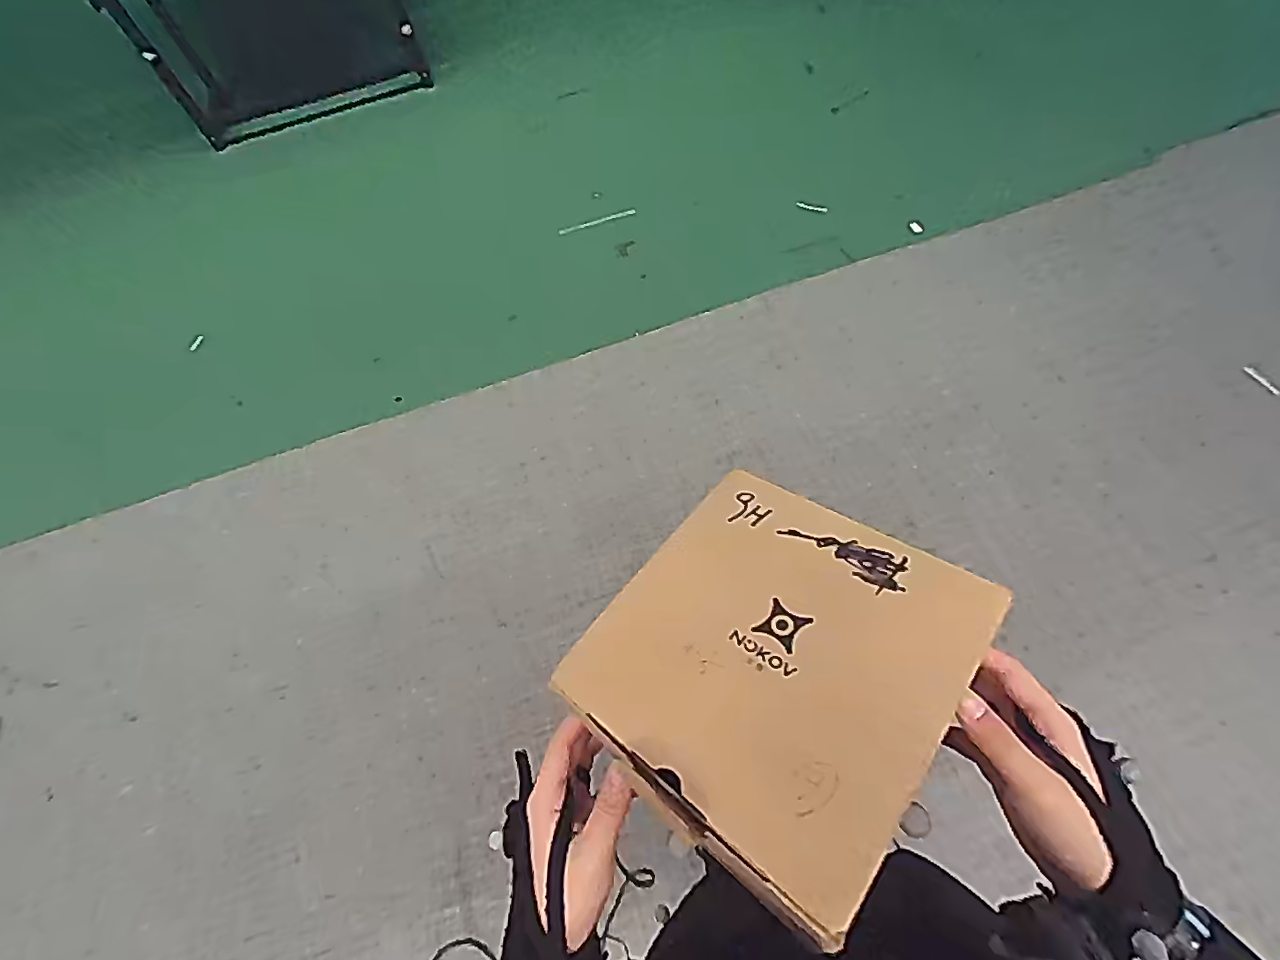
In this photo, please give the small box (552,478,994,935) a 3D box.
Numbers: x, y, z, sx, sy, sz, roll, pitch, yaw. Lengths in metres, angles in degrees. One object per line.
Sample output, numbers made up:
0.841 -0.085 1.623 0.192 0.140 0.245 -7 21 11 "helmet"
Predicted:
0.082 0.137 0.339 0.168 0.176 0.179 28 62 33 "small box"
